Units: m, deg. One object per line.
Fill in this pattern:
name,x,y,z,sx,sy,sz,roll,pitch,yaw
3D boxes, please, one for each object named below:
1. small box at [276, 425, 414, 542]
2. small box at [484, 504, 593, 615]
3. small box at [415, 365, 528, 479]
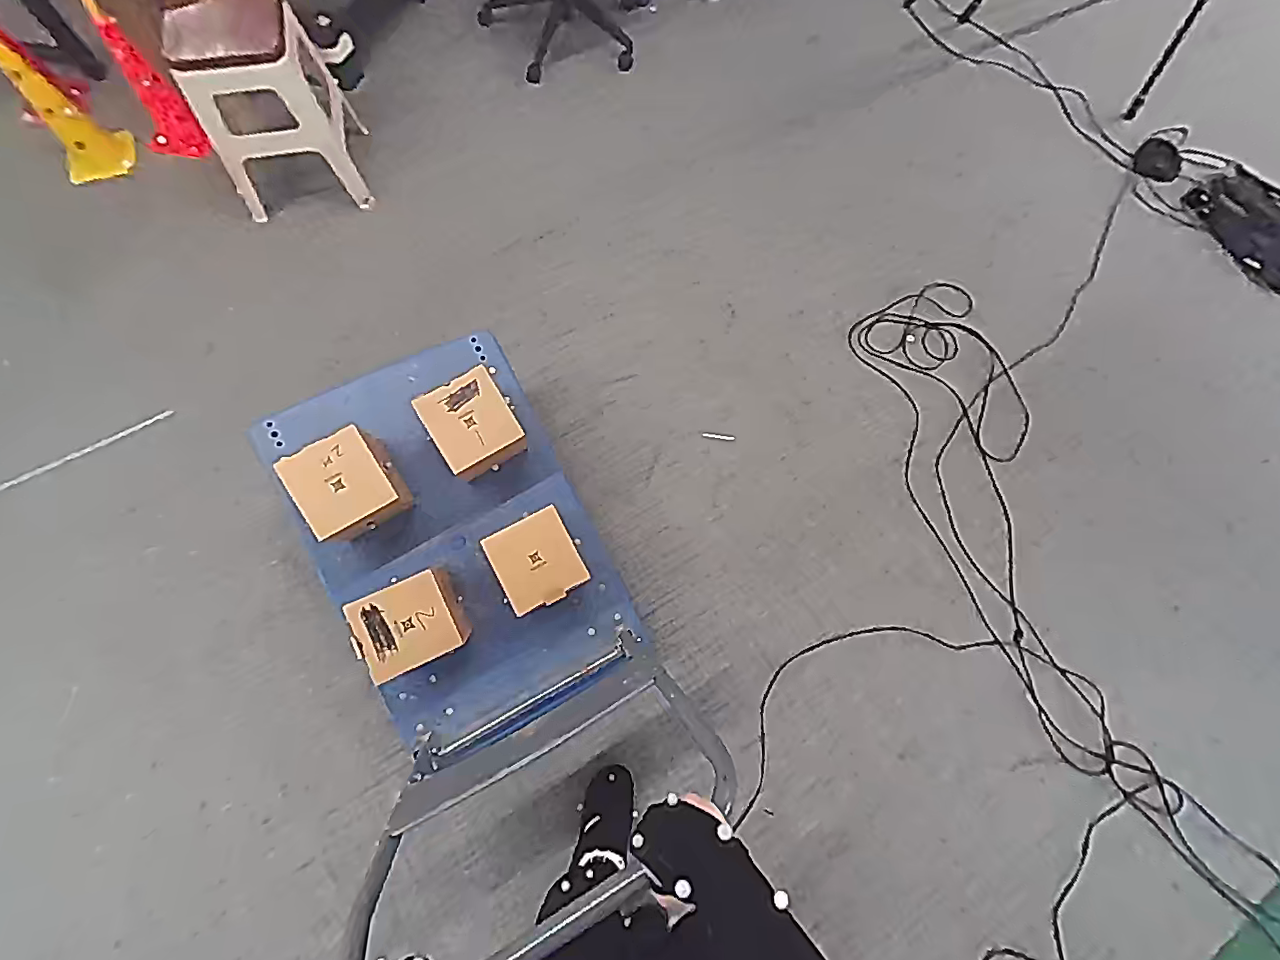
small box,-0.594,0.011,1.118,0.168,0.176,0.179,-31,91,-13
small box,-0.220,0.168,1.173,0.168,0.176,0.179,-28,91,-12
small box,-0.357,-0.118,1.176,0.168,0.176,0.179,-31,91,-12
